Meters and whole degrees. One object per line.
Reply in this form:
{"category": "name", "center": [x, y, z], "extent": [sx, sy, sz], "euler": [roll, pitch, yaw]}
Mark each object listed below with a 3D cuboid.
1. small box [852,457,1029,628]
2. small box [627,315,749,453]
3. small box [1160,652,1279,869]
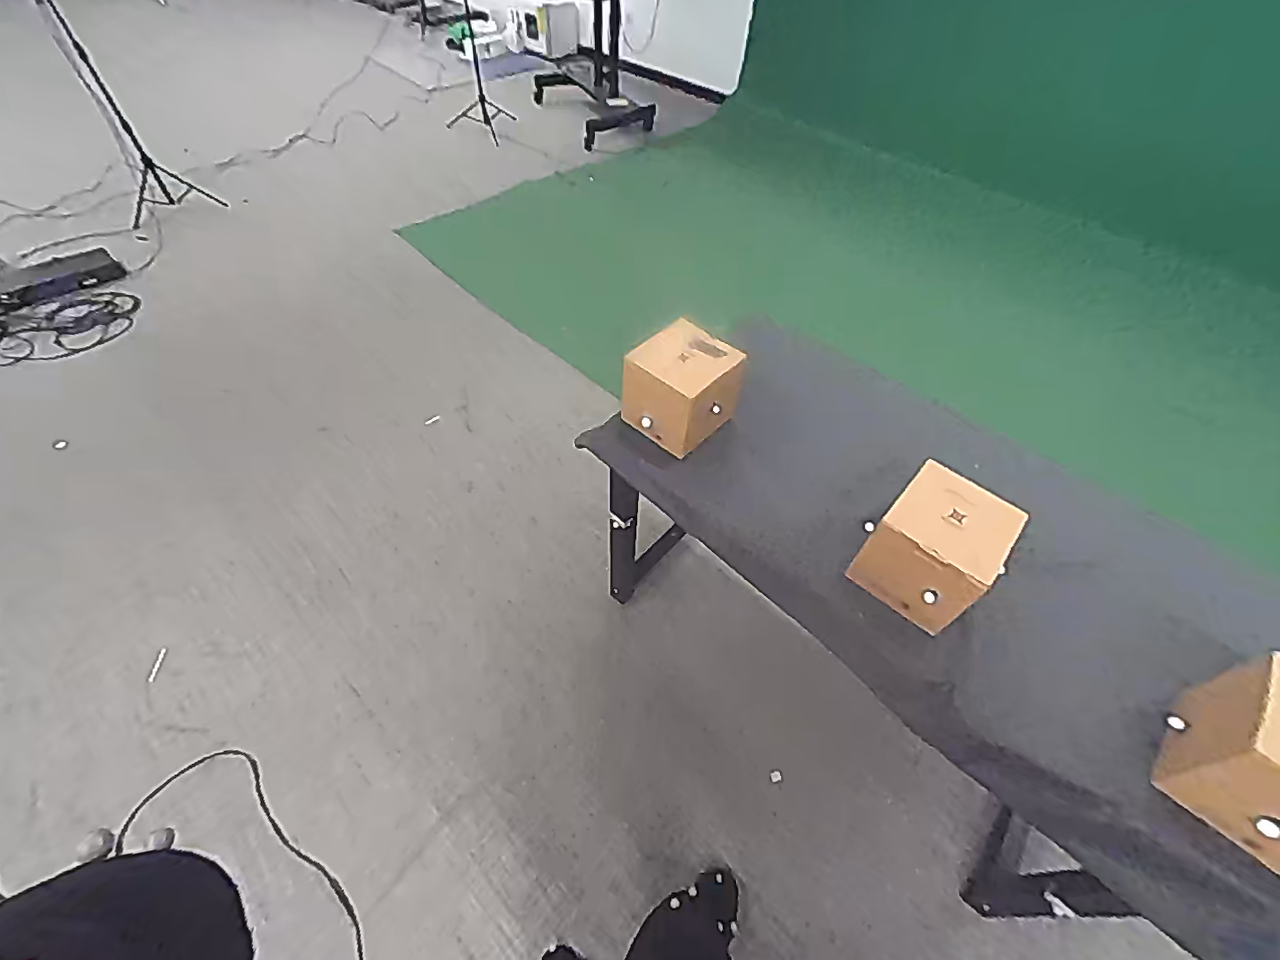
{"category": "small box", "center": [0.469, 0.103, 0.869], "extent": [0.168, 0.176, 0.179], "euler": [37, 57, 22]}
{"category": "small box", "center": [0.085, -0.188, 1.071], "extent": [0.168, 0.176, 0.179], "euler": [37, 58, 23]}
{"category": "small box", "center": [0.817, 0.360, 0.678], "extent": [0.179, 0.176, 0.168], "euler": [-36, 59, -28]}
